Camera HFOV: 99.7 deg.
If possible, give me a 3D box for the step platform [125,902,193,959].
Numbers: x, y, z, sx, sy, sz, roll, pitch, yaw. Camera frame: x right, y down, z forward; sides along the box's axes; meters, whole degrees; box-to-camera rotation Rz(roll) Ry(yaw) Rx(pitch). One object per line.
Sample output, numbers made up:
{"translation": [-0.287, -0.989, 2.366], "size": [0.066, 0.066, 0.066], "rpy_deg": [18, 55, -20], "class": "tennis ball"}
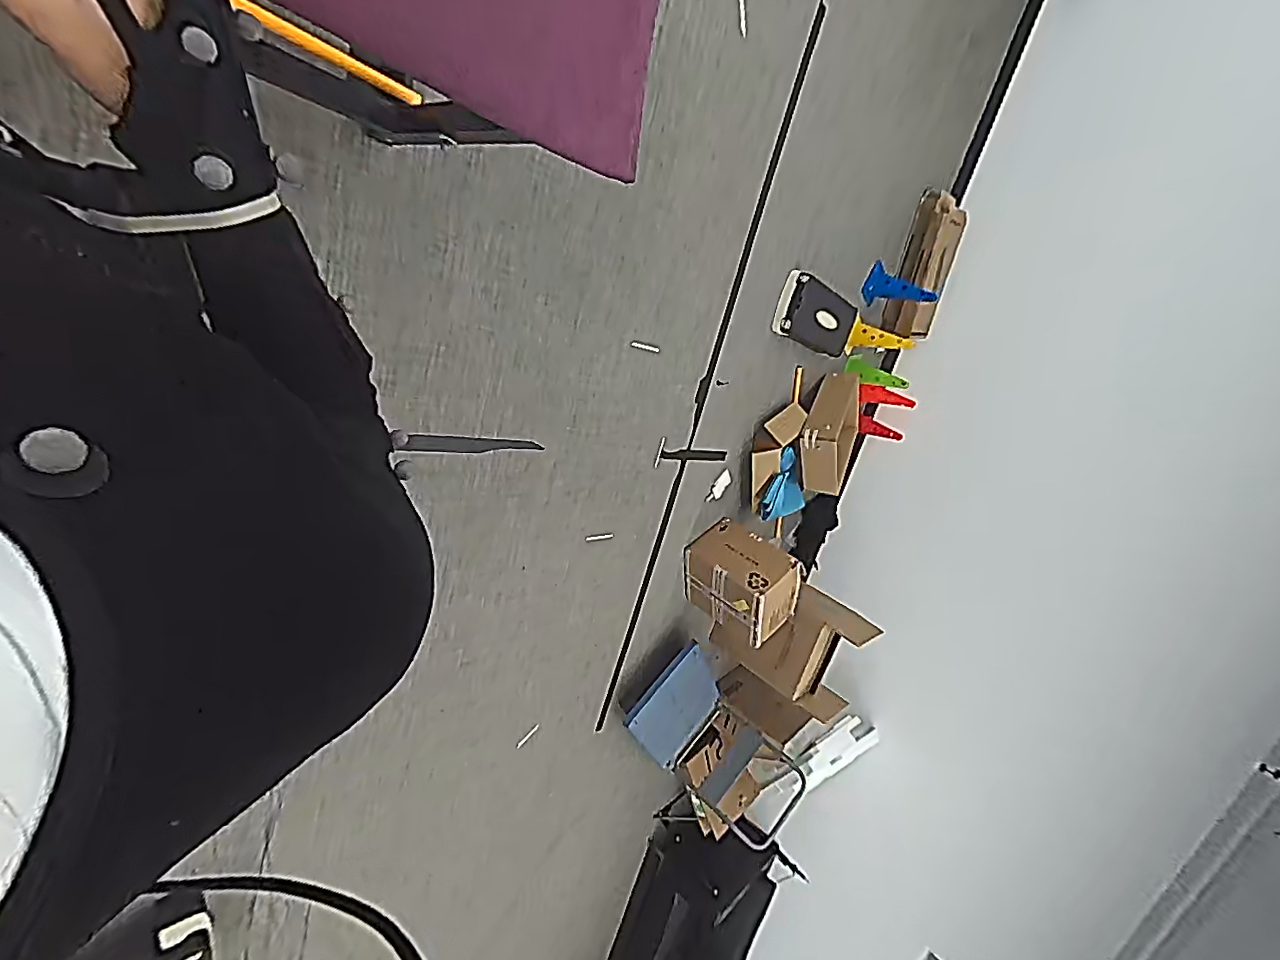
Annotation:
{"translation": [-1.504, 1.362, 1.284], "size": [0.684, 0.204, 0.286], "rpy_deg": [-3, 115, -50], "class": "step platform"}
